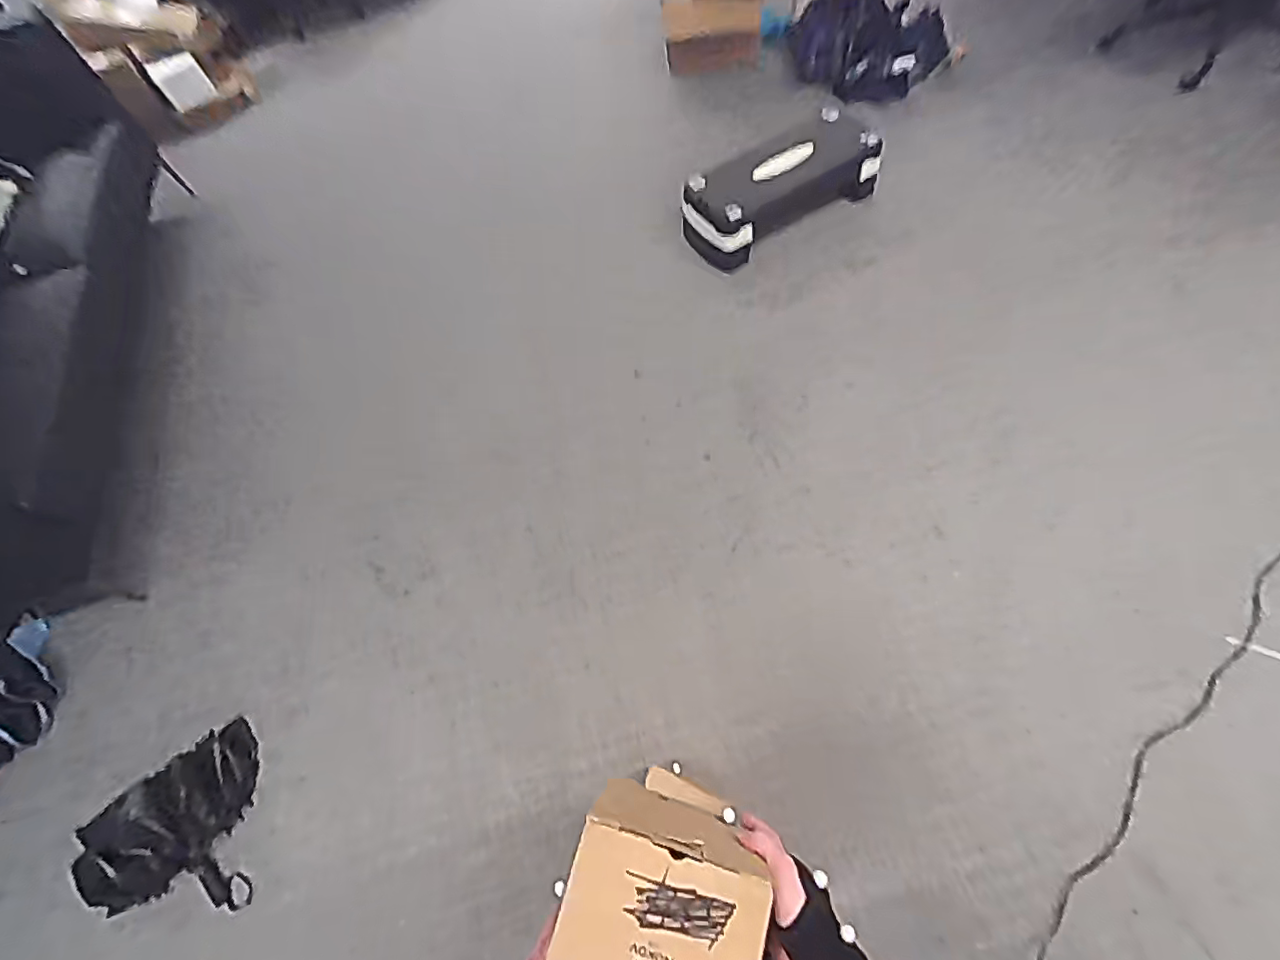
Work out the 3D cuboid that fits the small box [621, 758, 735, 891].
[{"bbox_3d":[0.083,0.691,1.104,0.179,0.176,0.168,19,68,16],"label":"small box"}]
